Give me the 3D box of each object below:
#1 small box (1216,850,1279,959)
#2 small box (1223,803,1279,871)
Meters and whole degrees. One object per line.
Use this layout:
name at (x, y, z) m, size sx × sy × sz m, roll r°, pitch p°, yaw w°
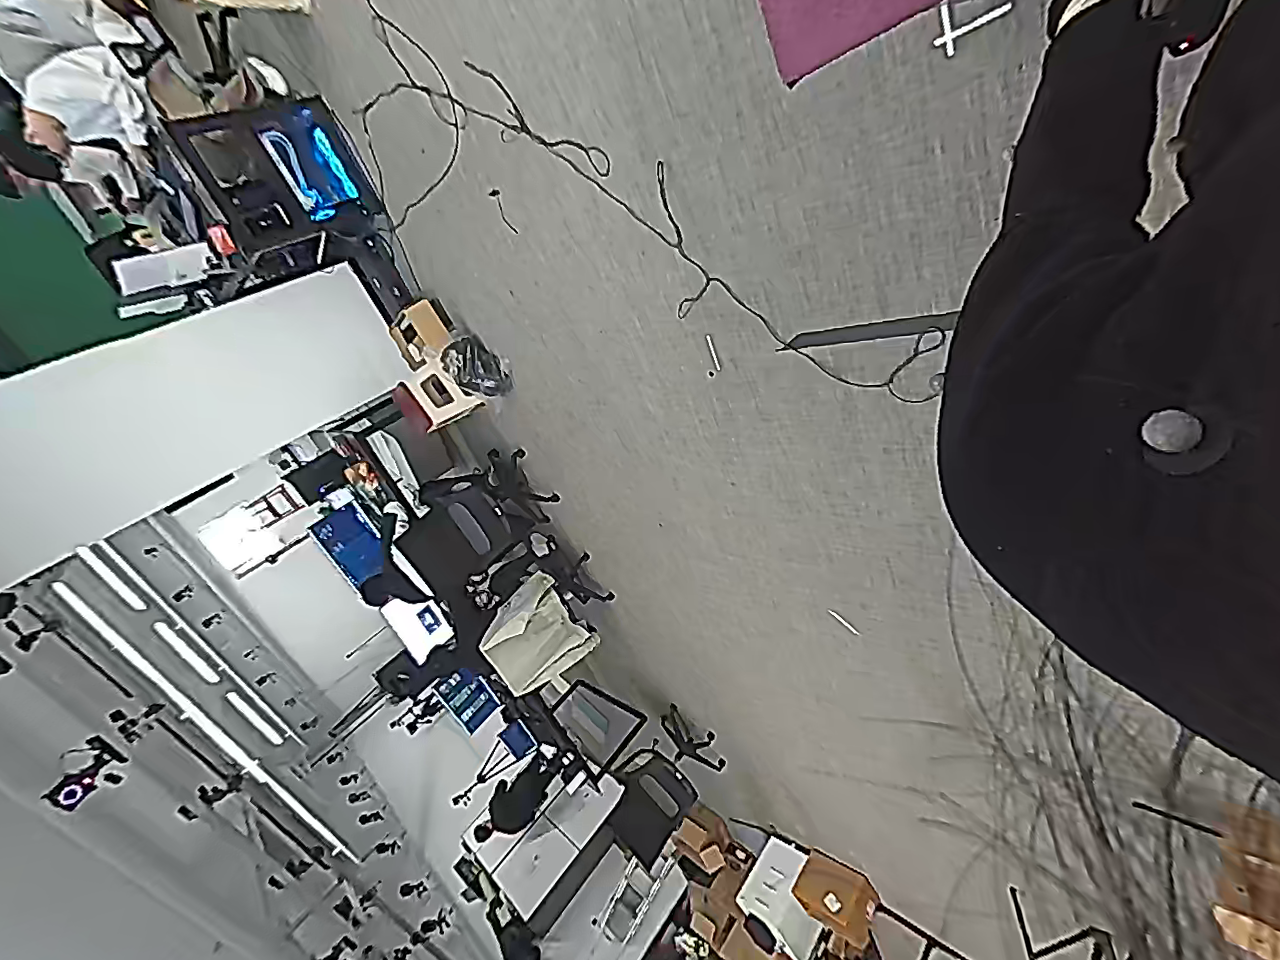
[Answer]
small box at (1.739, 1.193, 1.512) m, size 0.168 × 0.176 × 0.179 m, roll 3°, pitch 127°, yaw 51°
small box at (1.845, 1.102, 1.595) m, size 0.168 × 0.176 × 0.179 m, roll 4°, pitch 127°, yaw 49°
